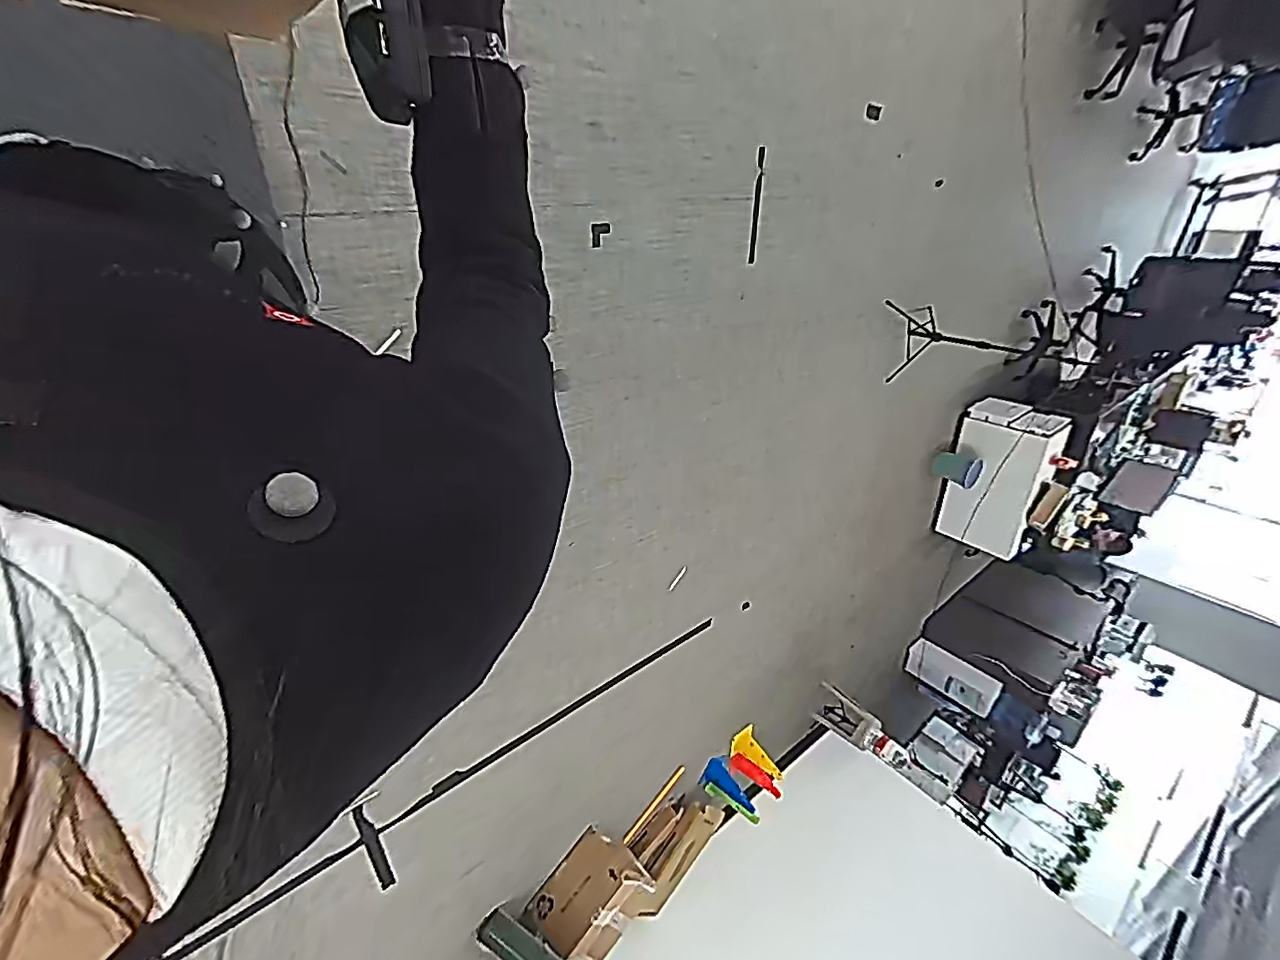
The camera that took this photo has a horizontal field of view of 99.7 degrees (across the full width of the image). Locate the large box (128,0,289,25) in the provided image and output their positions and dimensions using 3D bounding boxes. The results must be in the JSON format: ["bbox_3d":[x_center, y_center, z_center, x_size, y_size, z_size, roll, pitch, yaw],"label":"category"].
[{"bbox_3d":[-0.386,-0.430,0.205,0.408,0.320,0.320,-18,126,-36],"label":"large box"}]

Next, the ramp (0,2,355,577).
[{"bbox_3d":[-0.958,-0.335,1.078,0.509,0.206,0.991,-19,121,-32],"label":"ramp"}]
